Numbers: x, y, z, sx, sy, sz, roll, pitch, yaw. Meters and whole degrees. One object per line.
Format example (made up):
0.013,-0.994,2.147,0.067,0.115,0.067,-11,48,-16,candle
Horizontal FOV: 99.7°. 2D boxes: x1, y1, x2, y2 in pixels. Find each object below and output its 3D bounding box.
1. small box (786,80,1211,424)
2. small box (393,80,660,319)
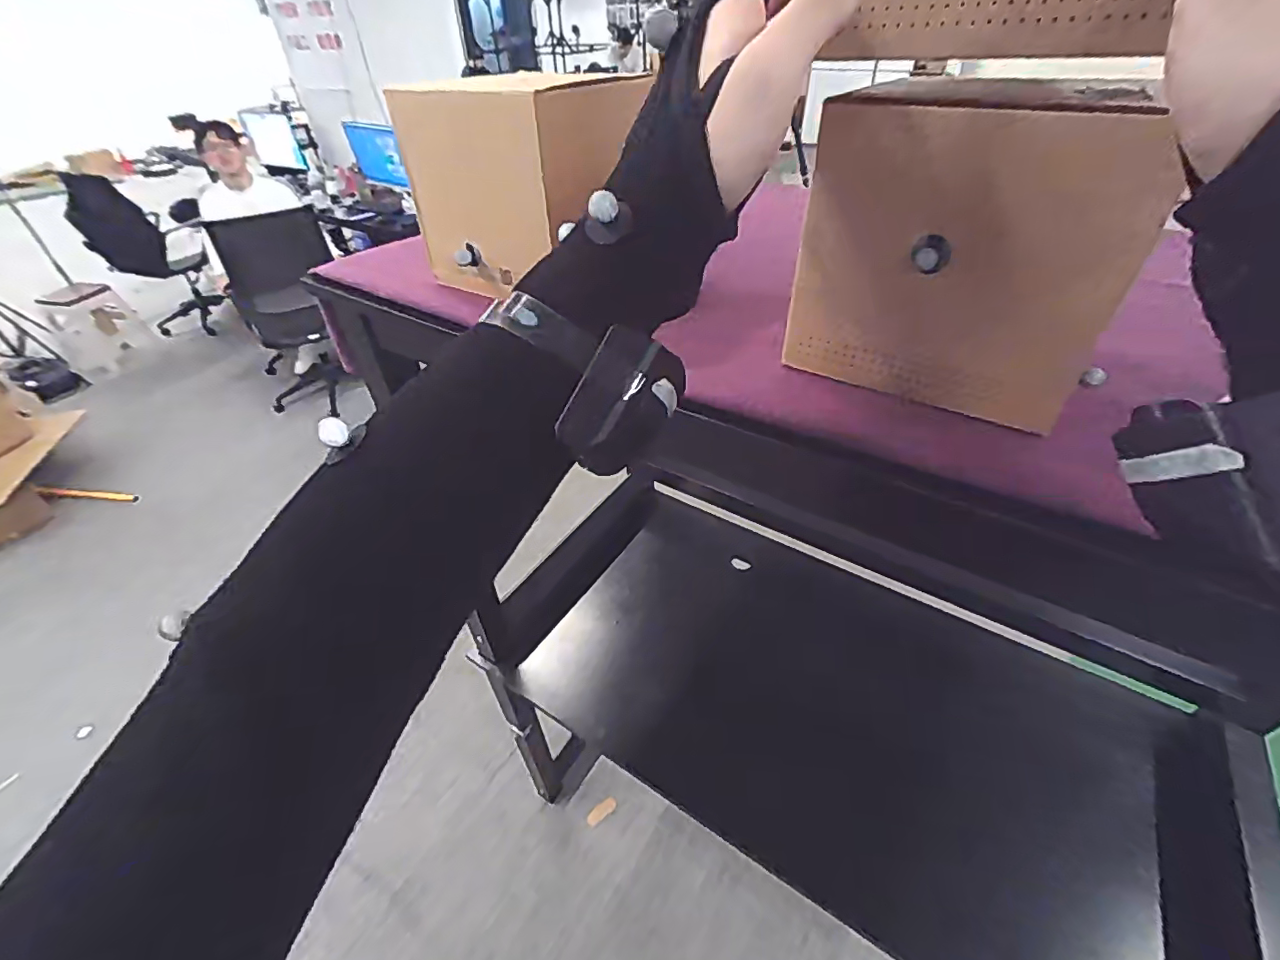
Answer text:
0.219,-0.158,0.367,0.179,0.176,0.168,22,45,28,small box
-0.094,-0.277,0.523,0.168,0.176,0.179,21,45,26,small box
